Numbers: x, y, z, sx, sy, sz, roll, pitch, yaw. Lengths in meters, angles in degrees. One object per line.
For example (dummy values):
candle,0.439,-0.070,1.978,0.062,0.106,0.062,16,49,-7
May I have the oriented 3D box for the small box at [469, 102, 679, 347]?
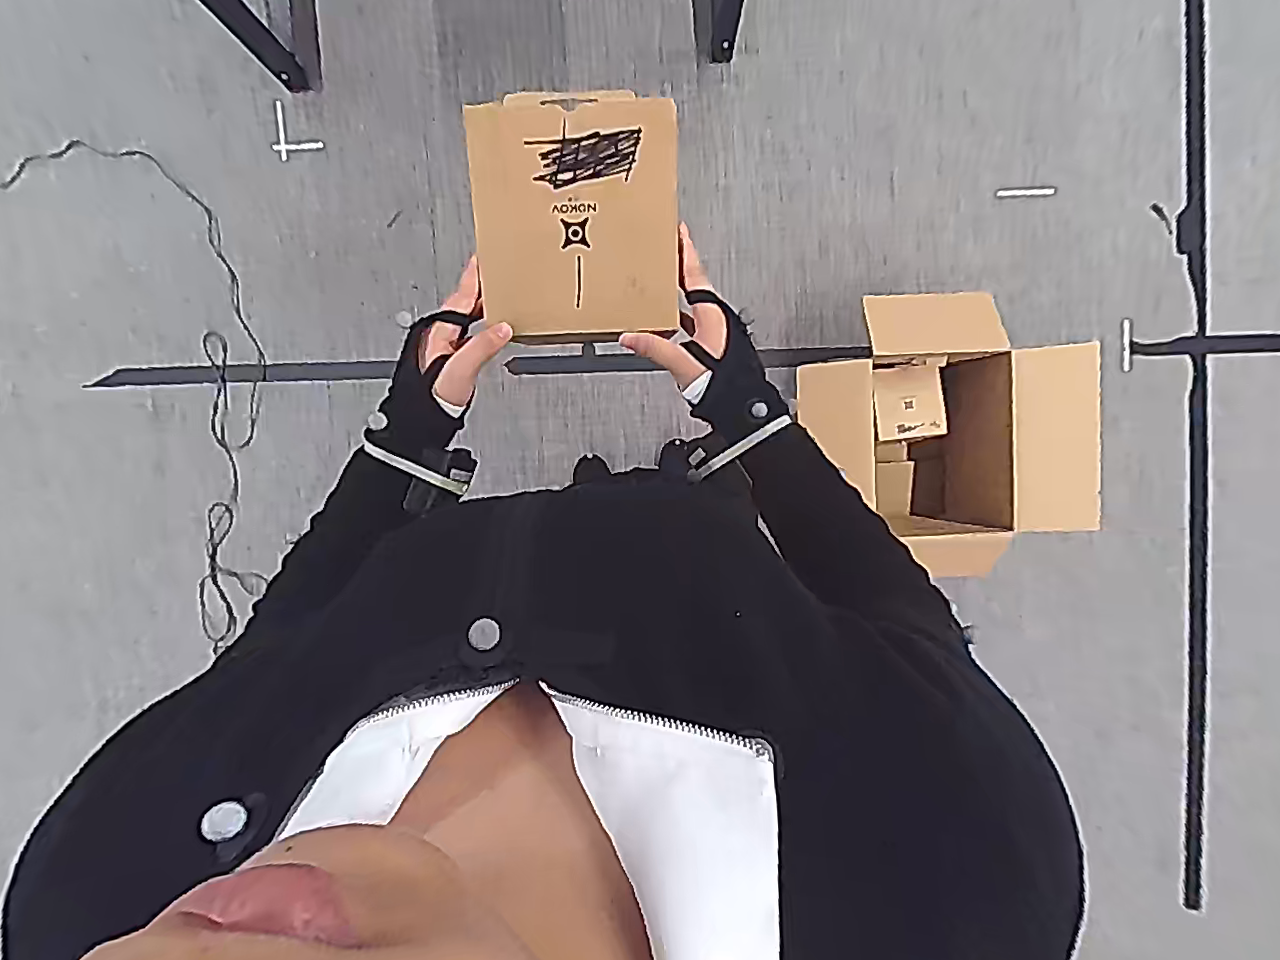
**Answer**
small box,-0.051,-0.222,0.514,0.168,0.176,0.179,-2,102,0
